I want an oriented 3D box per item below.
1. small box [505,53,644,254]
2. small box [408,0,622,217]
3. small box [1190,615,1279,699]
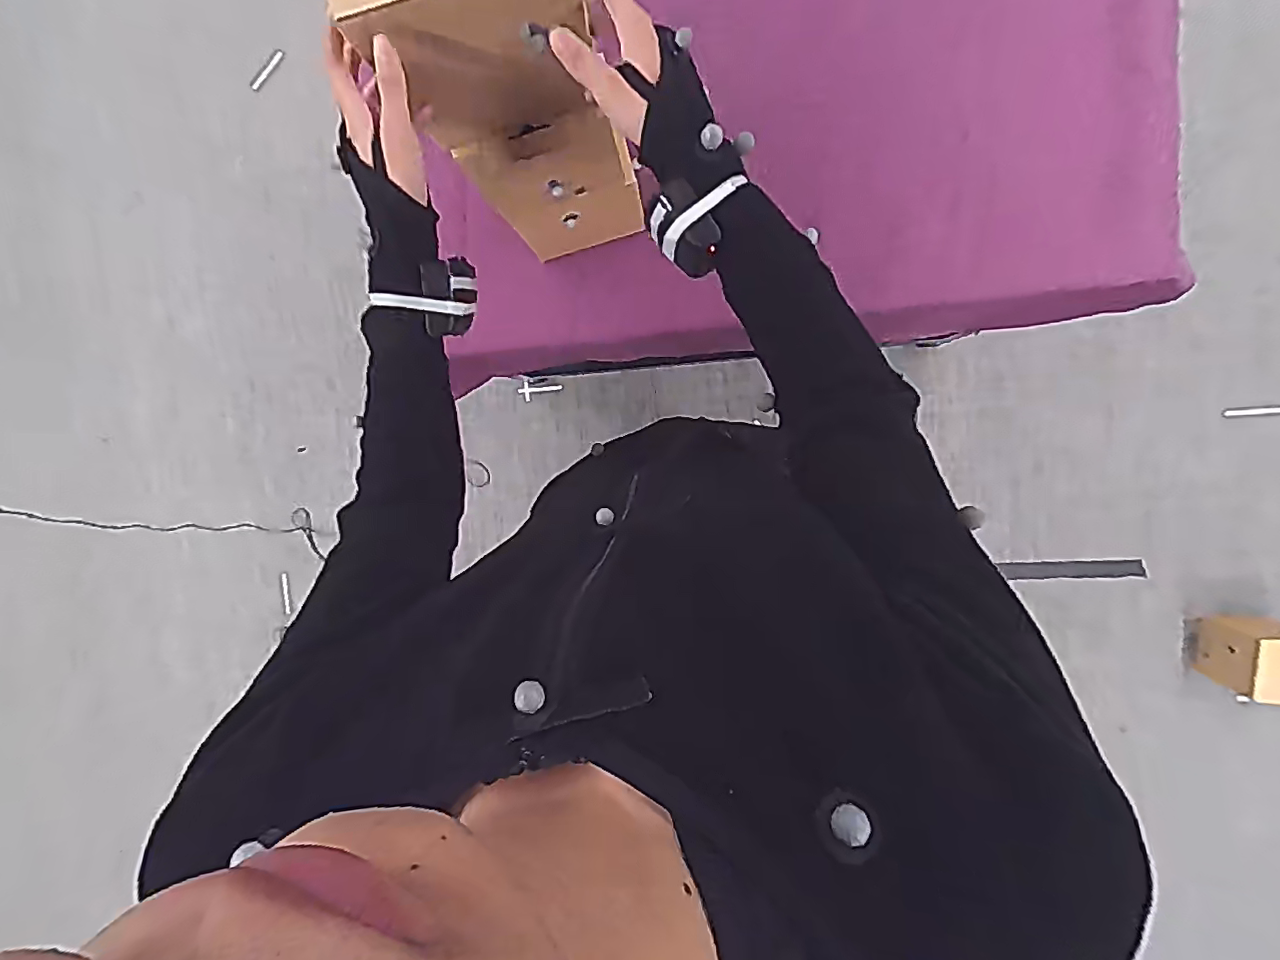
[{"bbox_3d":[-0.102,-0.446,0.773,0.179,0.176,0.168,-14,94,6],"label":"small box"},{"bbox_3d":[-0.127,-0.435,0.611,0.168,0.176,0.179,-15,94,7],"label":"small box"},{"bbox_3d":[1.625,0.464,1.430,0.179,0.176,0.168,0,96,5],"label":"small box"}]
